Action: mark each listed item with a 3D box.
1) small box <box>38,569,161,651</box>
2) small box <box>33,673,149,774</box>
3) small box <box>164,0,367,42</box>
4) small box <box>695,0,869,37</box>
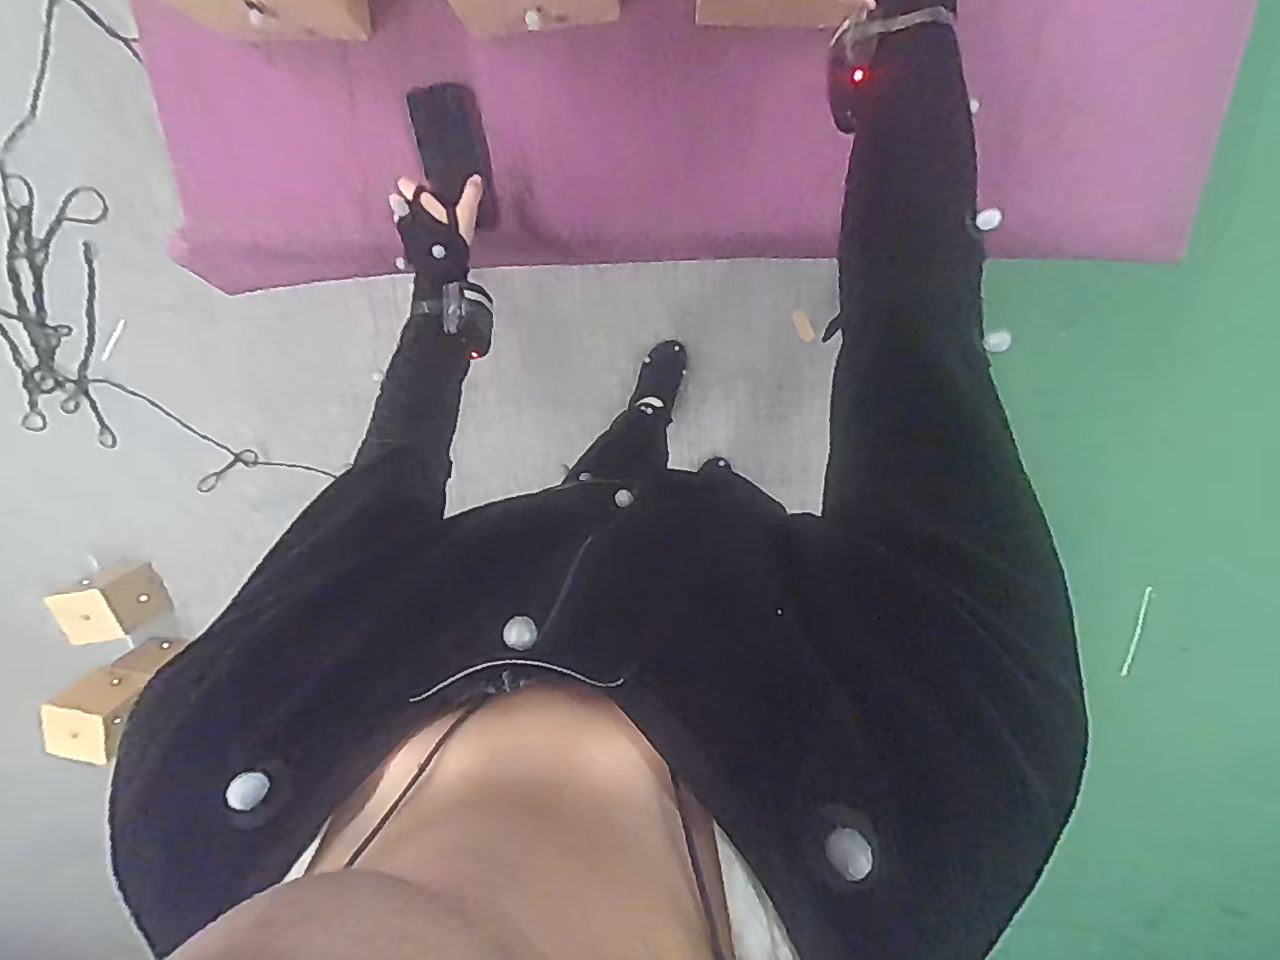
[{"bbox_3d":[-1.580,0.379,1.601,0.179,0.176,0.168,-9,108,5],"label":"small box"},{"bbox_3d":[-1.543,0.683,1.531,0.168,0.176,0.179,14,107,-2],"label":"small box"},{"bbox_3d":[-0.382,-0.544,0.505,0.168,0.176,0.179,1,109,2],"label":"small box"},{"bbox_3d":[0.143,-0.536,0.489,0.179,0.176,0.168,4,109,2],"label":"small box"}]
